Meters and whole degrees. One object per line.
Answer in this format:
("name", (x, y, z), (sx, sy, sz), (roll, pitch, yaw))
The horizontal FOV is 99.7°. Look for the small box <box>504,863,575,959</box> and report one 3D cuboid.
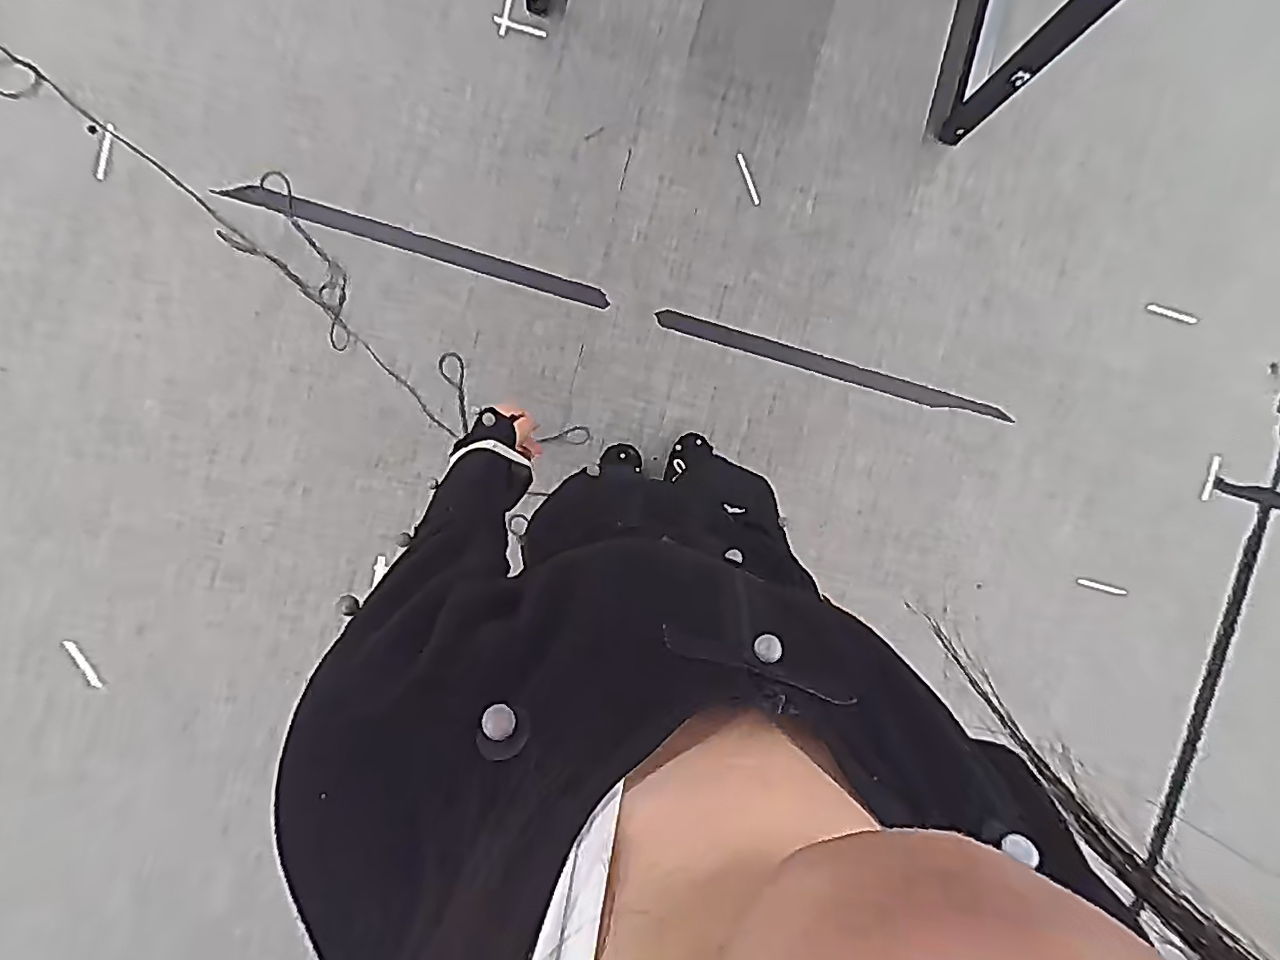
("small box", (-0.267, 1.181, 1.456), (0.168, 0.176, 0.179), (5, 94, -5))
